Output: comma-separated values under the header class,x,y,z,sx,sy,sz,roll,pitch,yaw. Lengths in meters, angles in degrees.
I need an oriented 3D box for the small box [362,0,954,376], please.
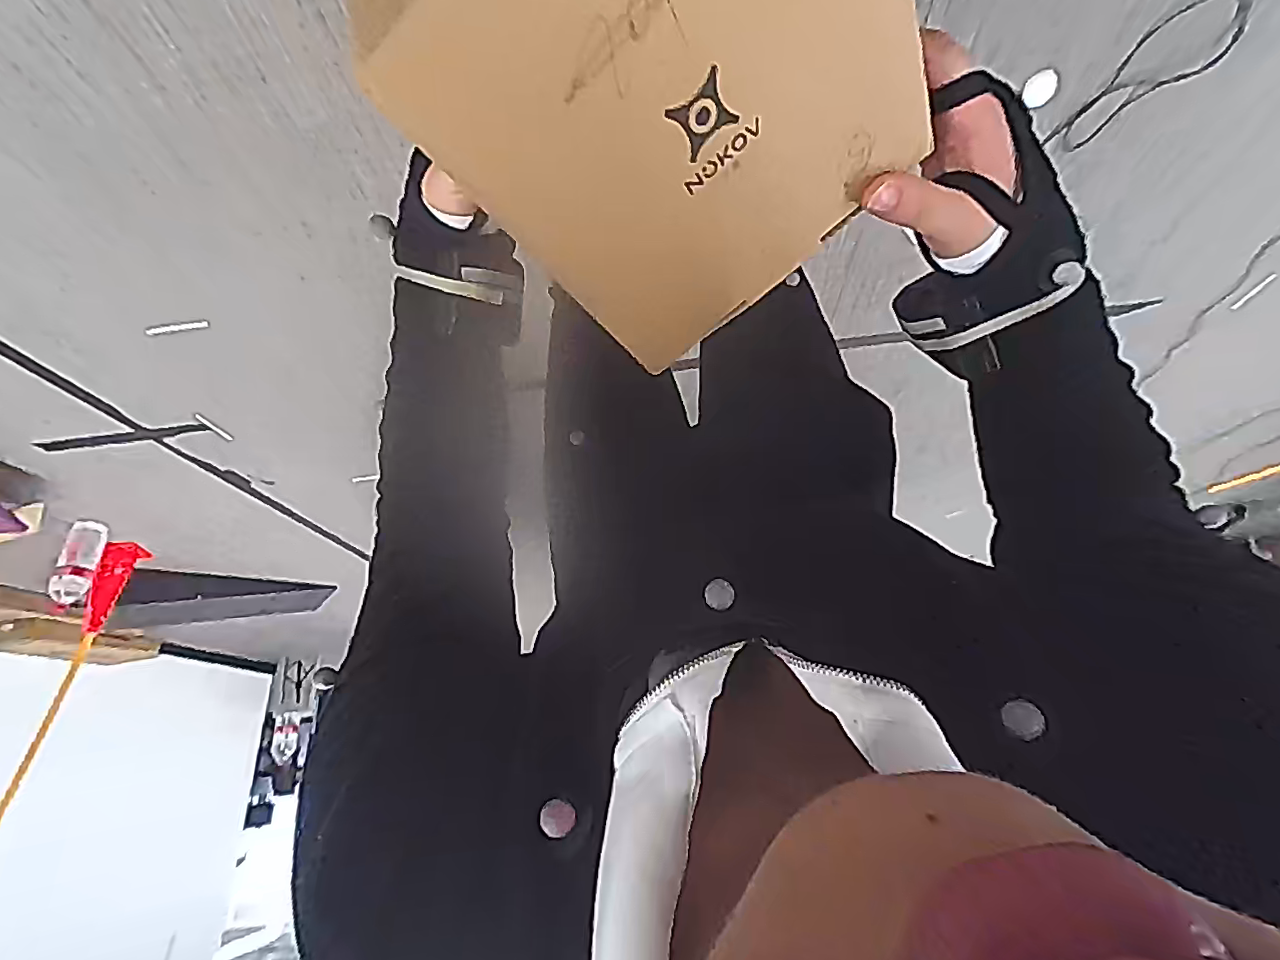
class,x,y,z,sx,sy,sz,roll,pitch,yaw
small box,0.005,-0.188,0.243,0.168,0.176,0.179,-37,143,16
